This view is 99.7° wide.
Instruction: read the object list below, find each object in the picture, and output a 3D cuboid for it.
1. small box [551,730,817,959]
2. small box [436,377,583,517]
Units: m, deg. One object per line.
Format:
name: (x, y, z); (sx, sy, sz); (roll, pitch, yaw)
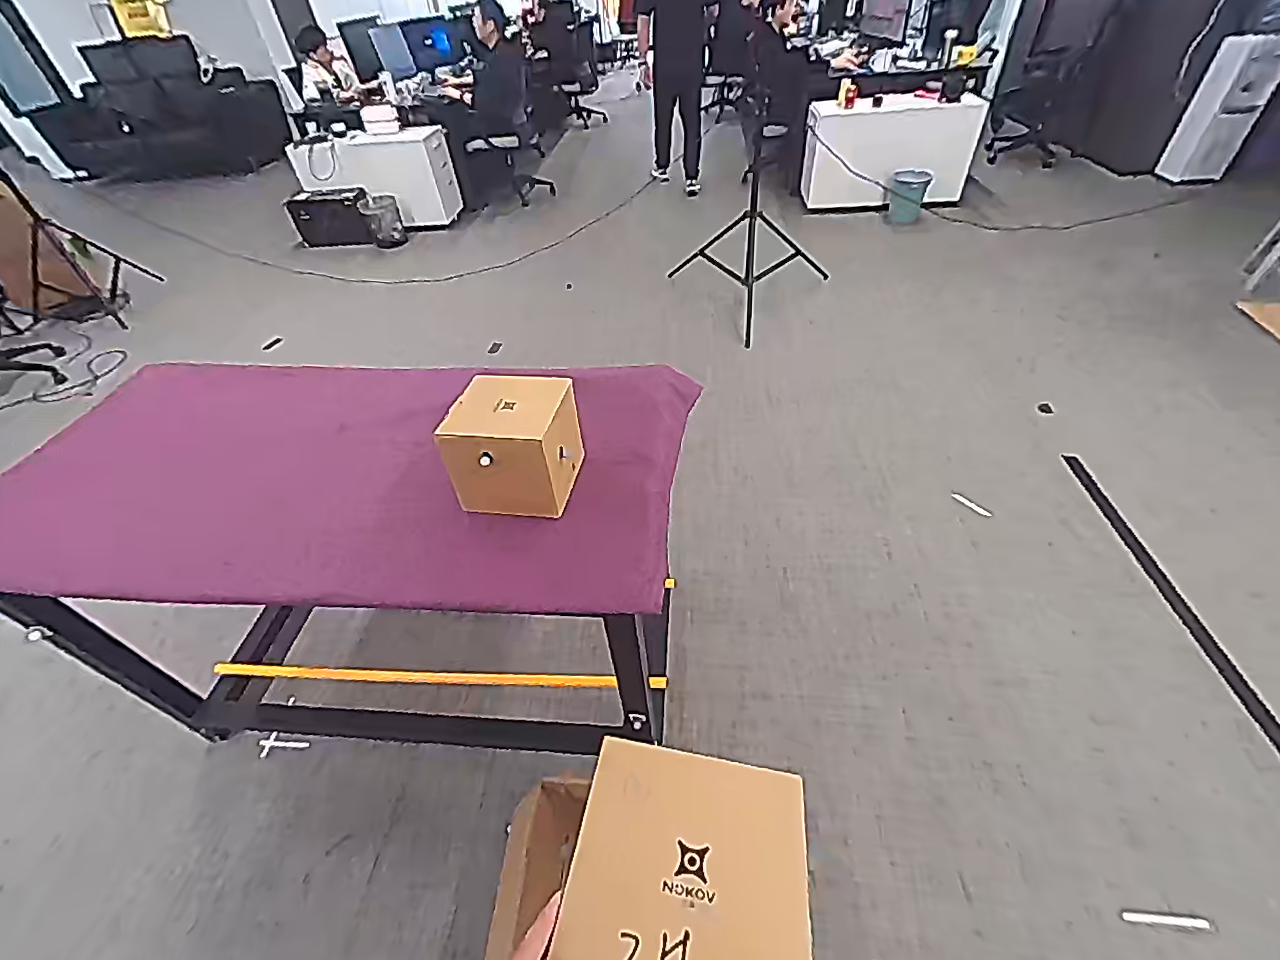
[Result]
small box: (0.035, 0.337, 0.422); (0.168, 0.176, 0.179); (8, 35, 8)
small box: (-0.203, -0.054, 0.906); (0.179, 0.176, 0.168); (3, 43, 10)
